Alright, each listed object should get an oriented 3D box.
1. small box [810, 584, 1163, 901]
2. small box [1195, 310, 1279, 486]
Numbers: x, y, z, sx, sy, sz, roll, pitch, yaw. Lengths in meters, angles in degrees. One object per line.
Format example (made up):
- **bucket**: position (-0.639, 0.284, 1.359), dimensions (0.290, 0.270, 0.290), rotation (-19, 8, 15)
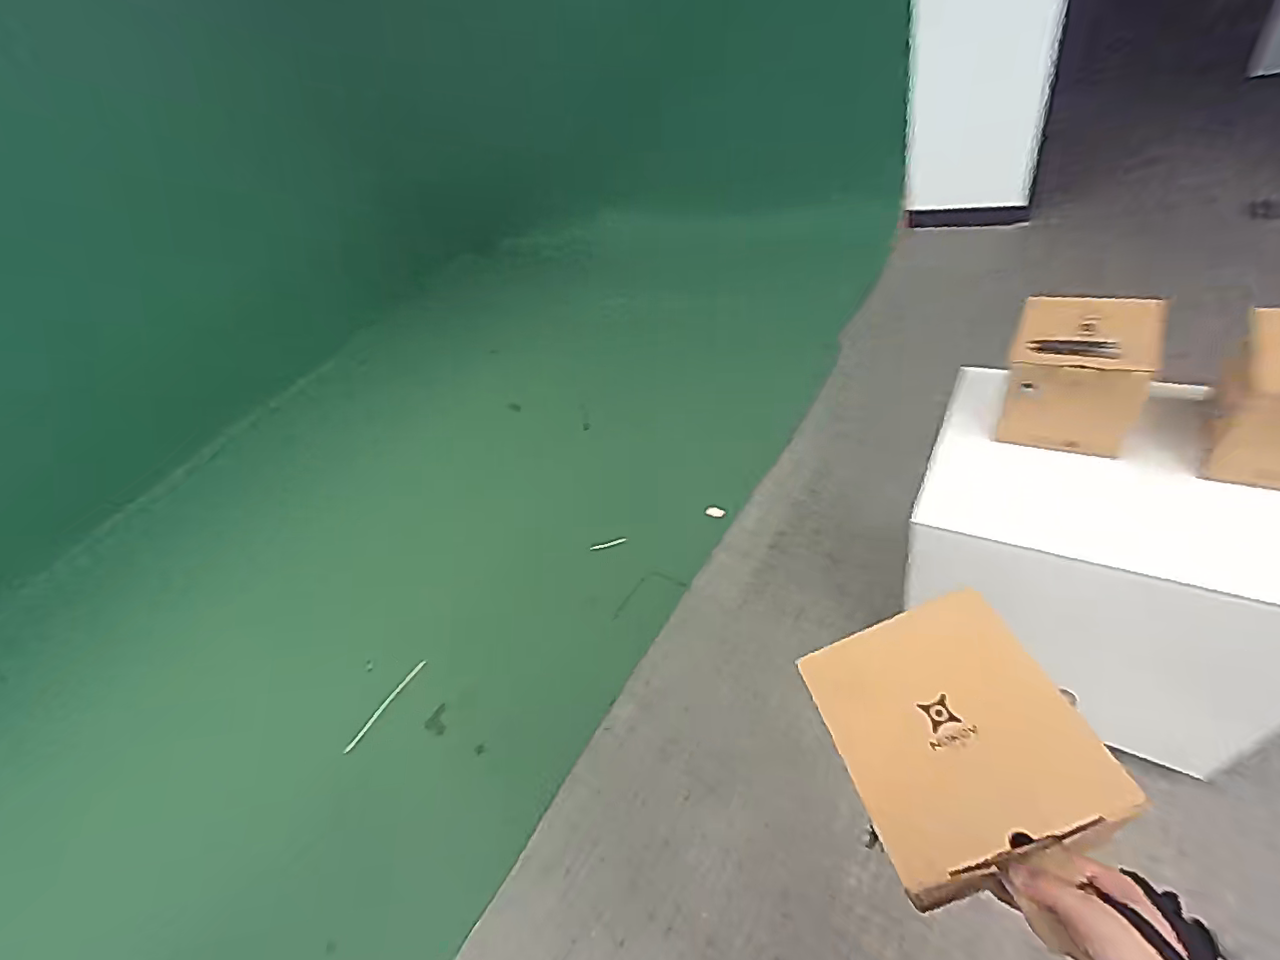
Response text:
- **small box**: position (0.270, 0.227, 0.464), dimensions (0.168, 0.176, 0.179), rotation (-26, 44, 8)
- **small box**: position (0.874, -0.100, 0.708), dimensions (0.168, 0.176, 0.179), rotation (15, 55, 32)
